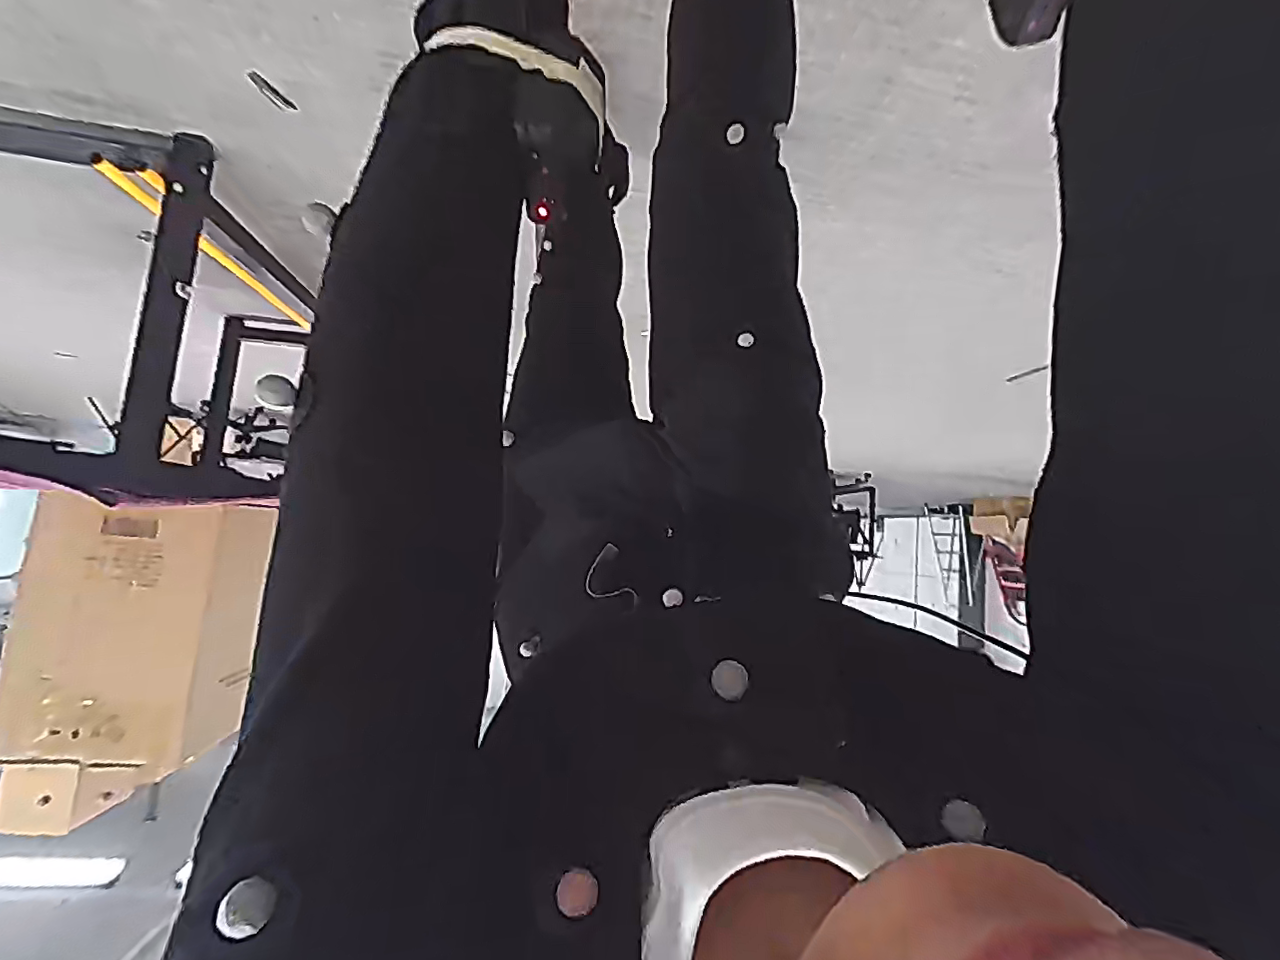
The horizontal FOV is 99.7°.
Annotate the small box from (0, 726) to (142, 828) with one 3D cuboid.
[{"bbox_3d":[-1.386,0.721,1.329,0.168,0.176,0.179,5,176,-4],"label":"small box"}]

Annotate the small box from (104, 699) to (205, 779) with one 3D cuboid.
[{"bbox_3d":[-1.412,0.744,1.571,0.168,0.176,0.179,4,173,-8],"label":"small box"}]
